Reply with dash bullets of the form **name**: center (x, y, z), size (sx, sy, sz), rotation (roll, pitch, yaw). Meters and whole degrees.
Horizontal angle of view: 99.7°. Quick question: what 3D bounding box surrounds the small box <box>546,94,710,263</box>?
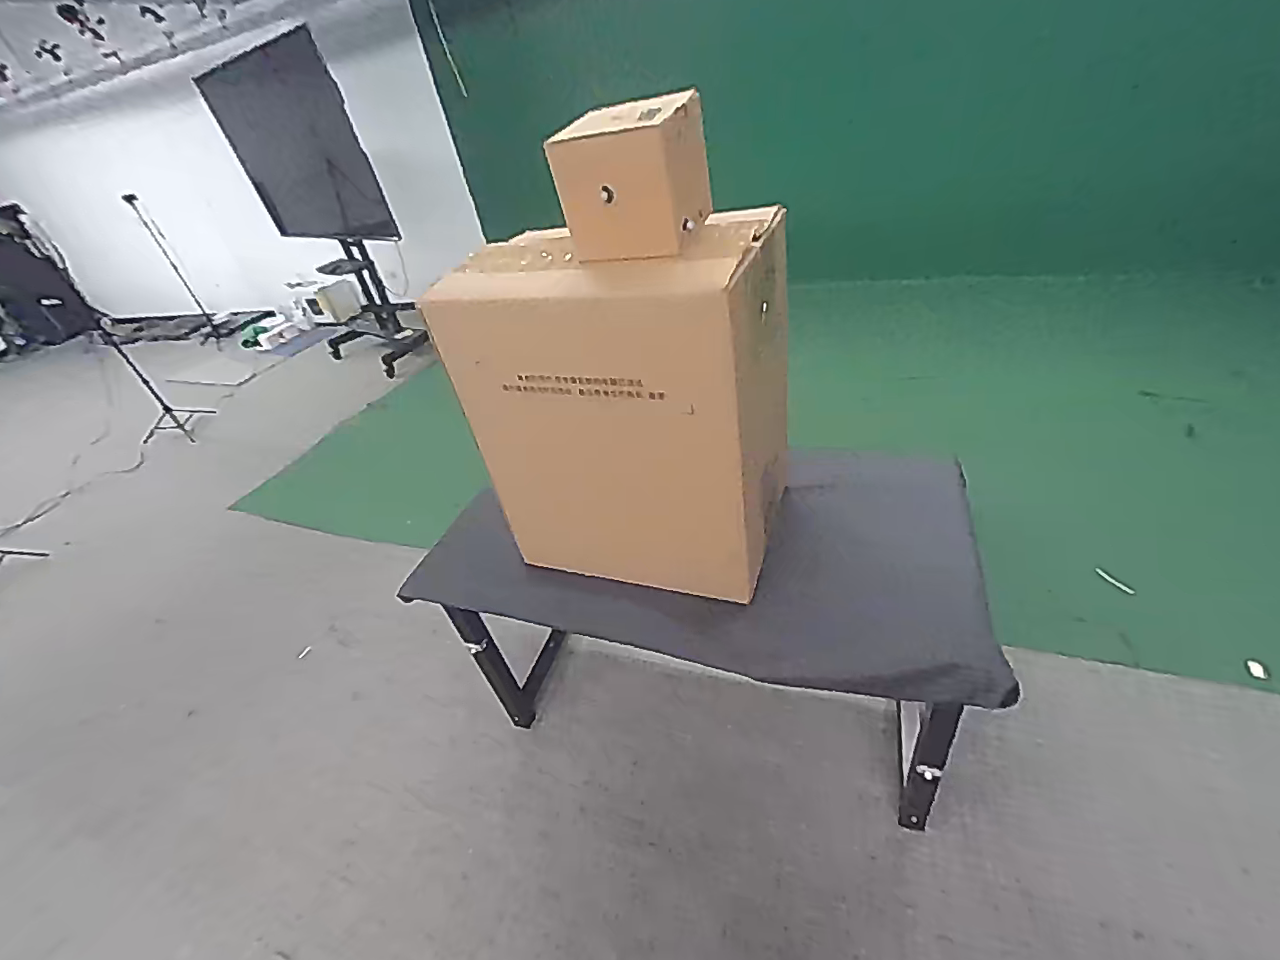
- **small box**: center (-0.005, -0.443, 0.809), size (0.179, 0.176, 0.168), rotation (7, 47, 25)
